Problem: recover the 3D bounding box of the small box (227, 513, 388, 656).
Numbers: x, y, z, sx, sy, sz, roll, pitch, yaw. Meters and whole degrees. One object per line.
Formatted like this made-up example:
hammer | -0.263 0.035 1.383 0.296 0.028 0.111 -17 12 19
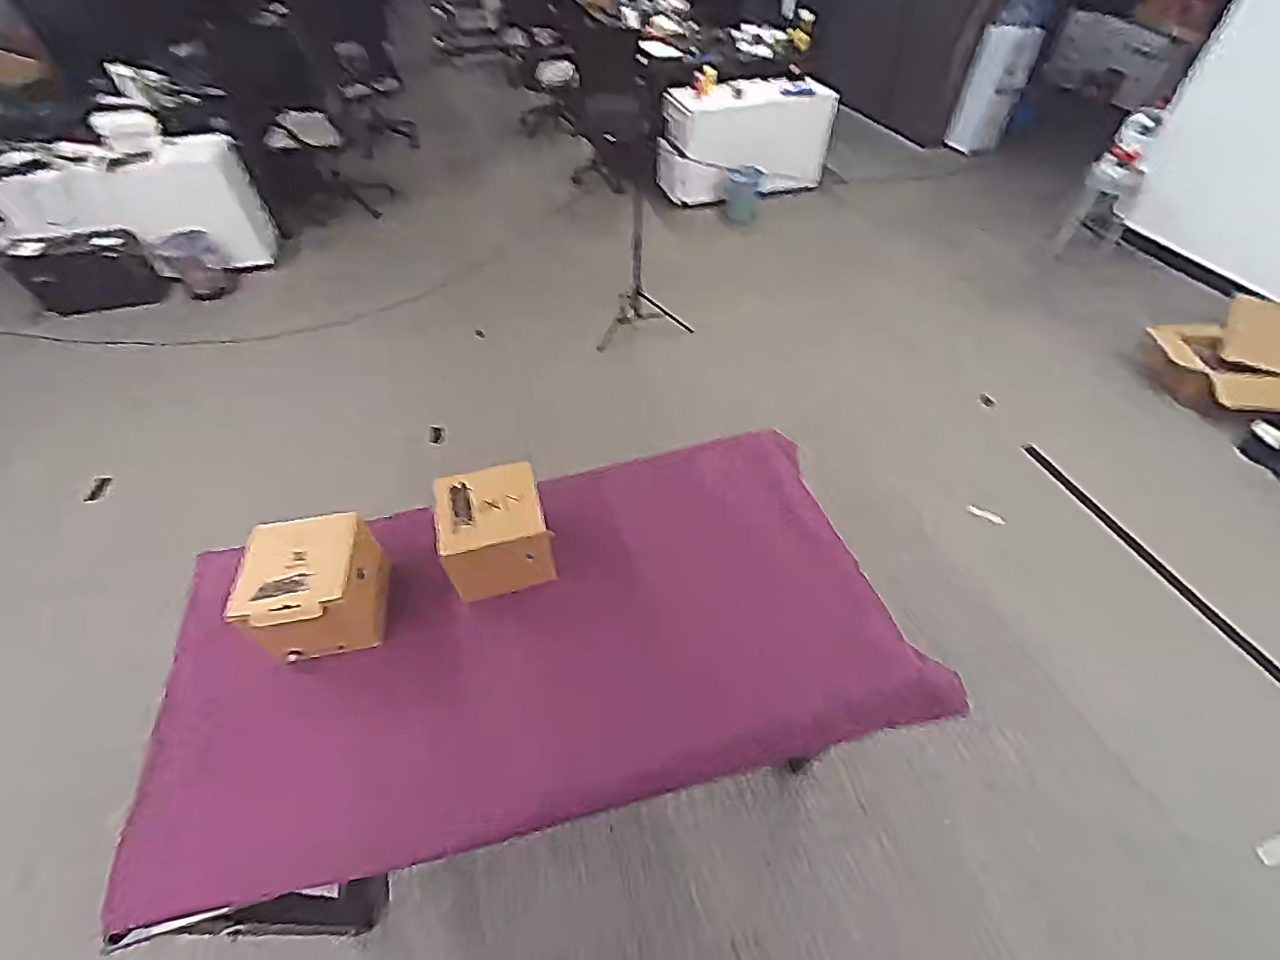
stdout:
small box | -0.545 0.183 0.916 0.168 0.176 0.179 -8 50 -8
